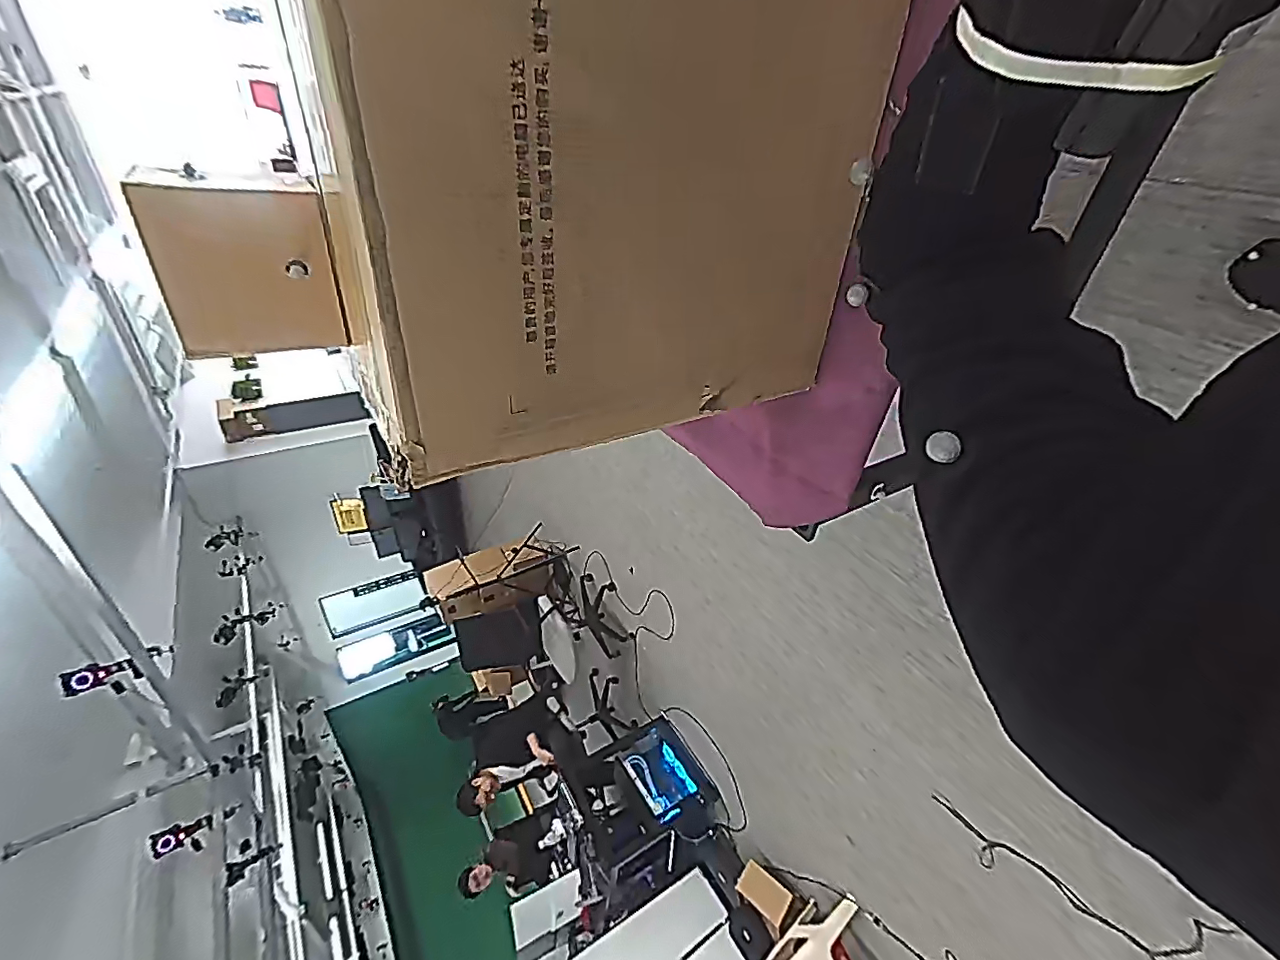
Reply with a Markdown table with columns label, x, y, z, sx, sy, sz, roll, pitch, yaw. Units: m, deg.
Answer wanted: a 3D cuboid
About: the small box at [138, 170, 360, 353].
| label | x | y | z | sx | sy | sz | roll | pitch | yaw |
| --- | --- | --- | --- | --- | --- | --- | --- | --- | --- |
| small box | -0.456 | -0.261 | 0.651 | 0.168 | 0.176 | 0.179 | 44 | 139 | 43 |
